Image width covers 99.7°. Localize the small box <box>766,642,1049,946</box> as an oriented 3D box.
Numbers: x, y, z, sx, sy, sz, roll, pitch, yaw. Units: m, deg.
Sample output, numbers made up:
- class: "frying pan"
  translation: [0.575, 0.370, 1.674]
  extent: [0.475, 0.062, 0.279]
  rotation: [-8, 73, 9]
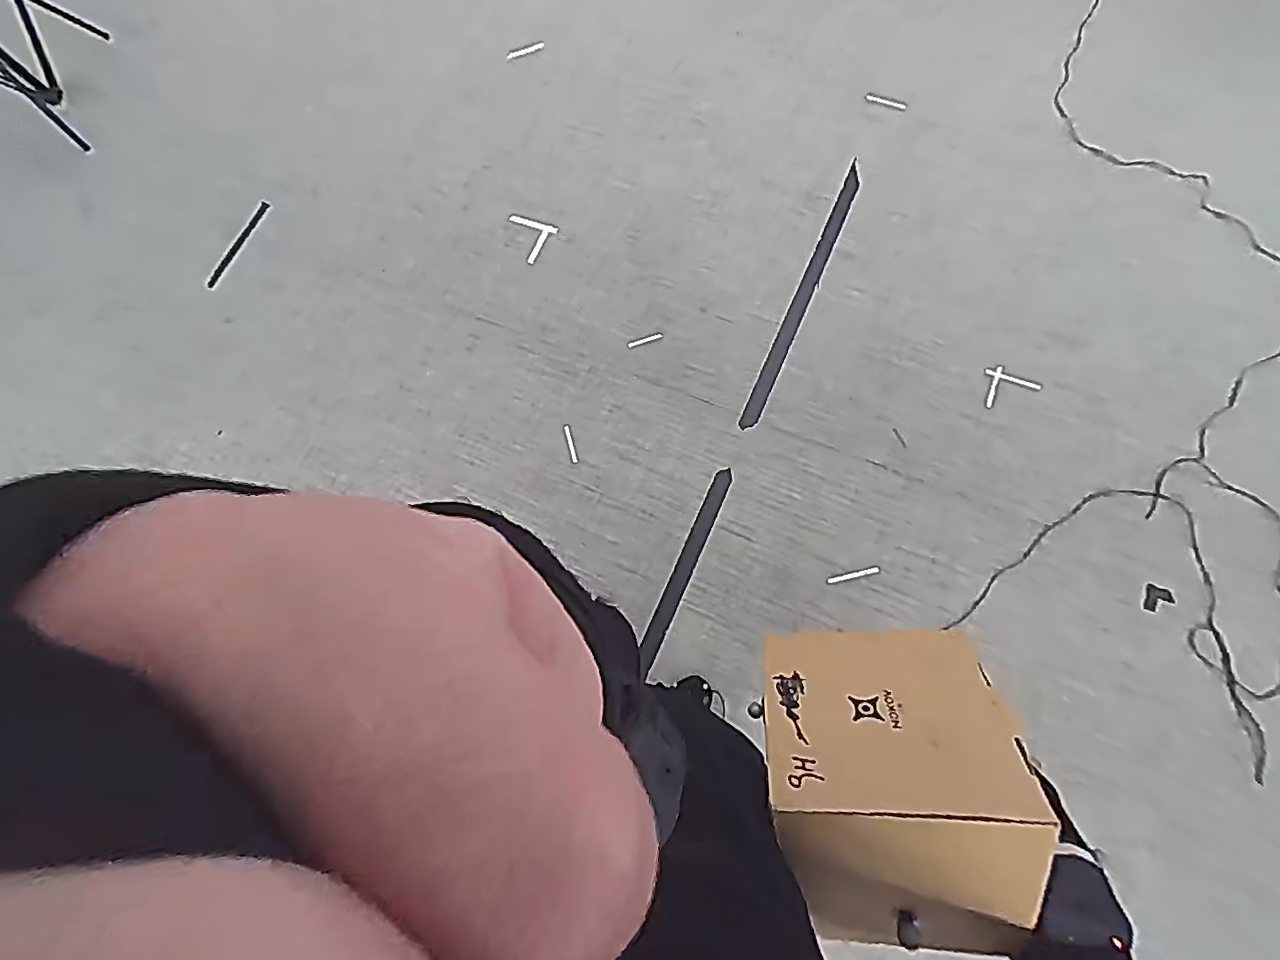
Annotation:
- class: "small box"
  translation: [0.207, 0.263, 0.470]
  extent: [0.179, 0.168, 0.176]
  rotation: [-6, 116, 13]
